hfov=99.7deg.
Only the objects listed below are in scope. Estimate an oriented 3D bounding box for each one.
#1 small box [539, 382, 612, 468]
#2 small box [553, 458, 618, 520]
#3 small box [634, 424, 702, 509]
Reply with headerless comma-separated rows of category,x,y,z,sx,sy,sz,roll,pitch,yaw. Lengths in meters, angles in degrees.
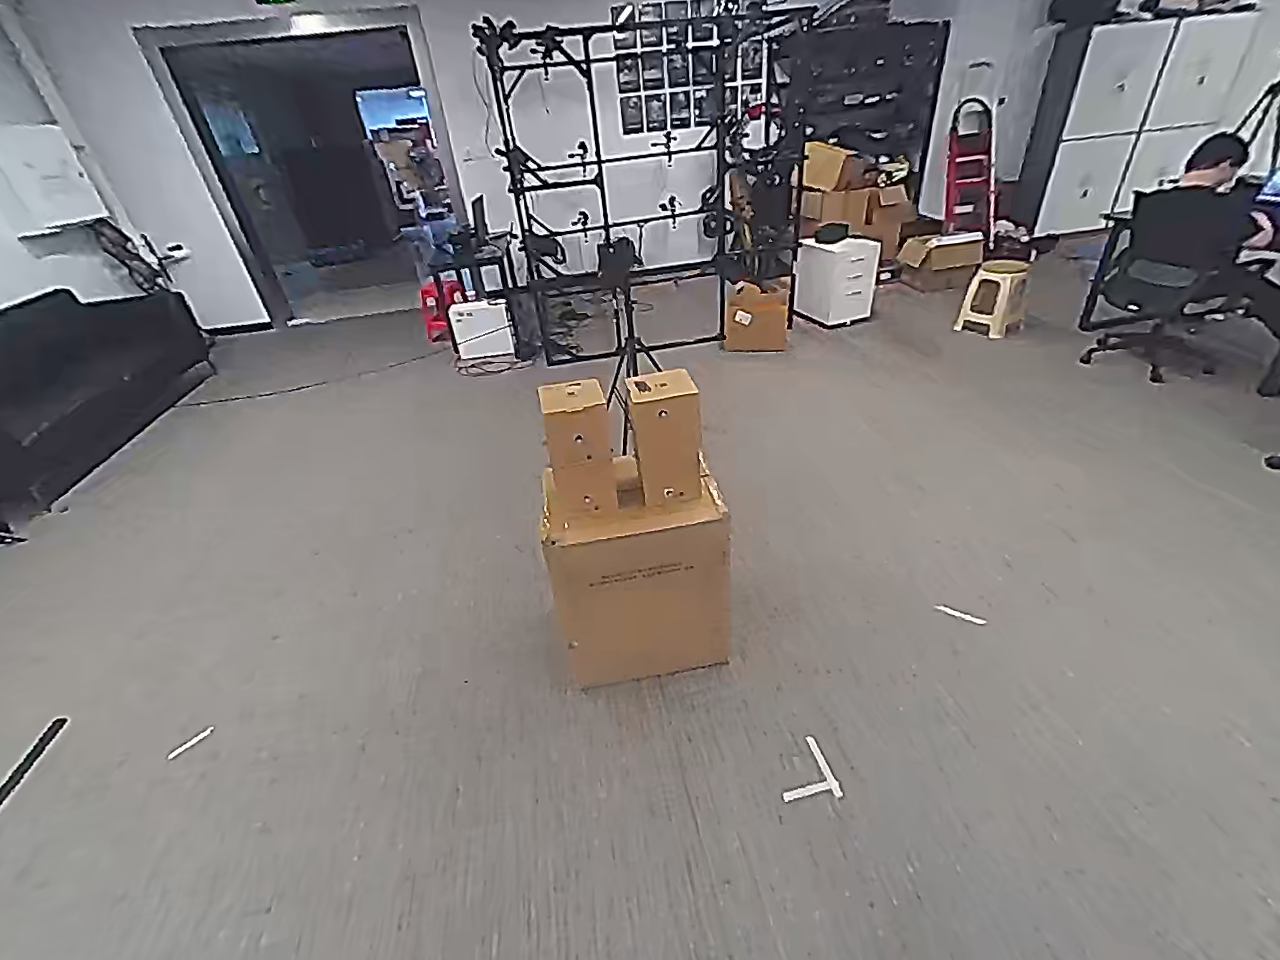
small box,-0.176,-0.146,1.480,0.168,0.176,0.179,-11,34,-7
small box,-0.161,-0.008,1.569,0.168,0.176,0.179,-10,34,-6
small box,0.080,-0.040,1.579,0.168,0.176,0.179,-12,35,-3
